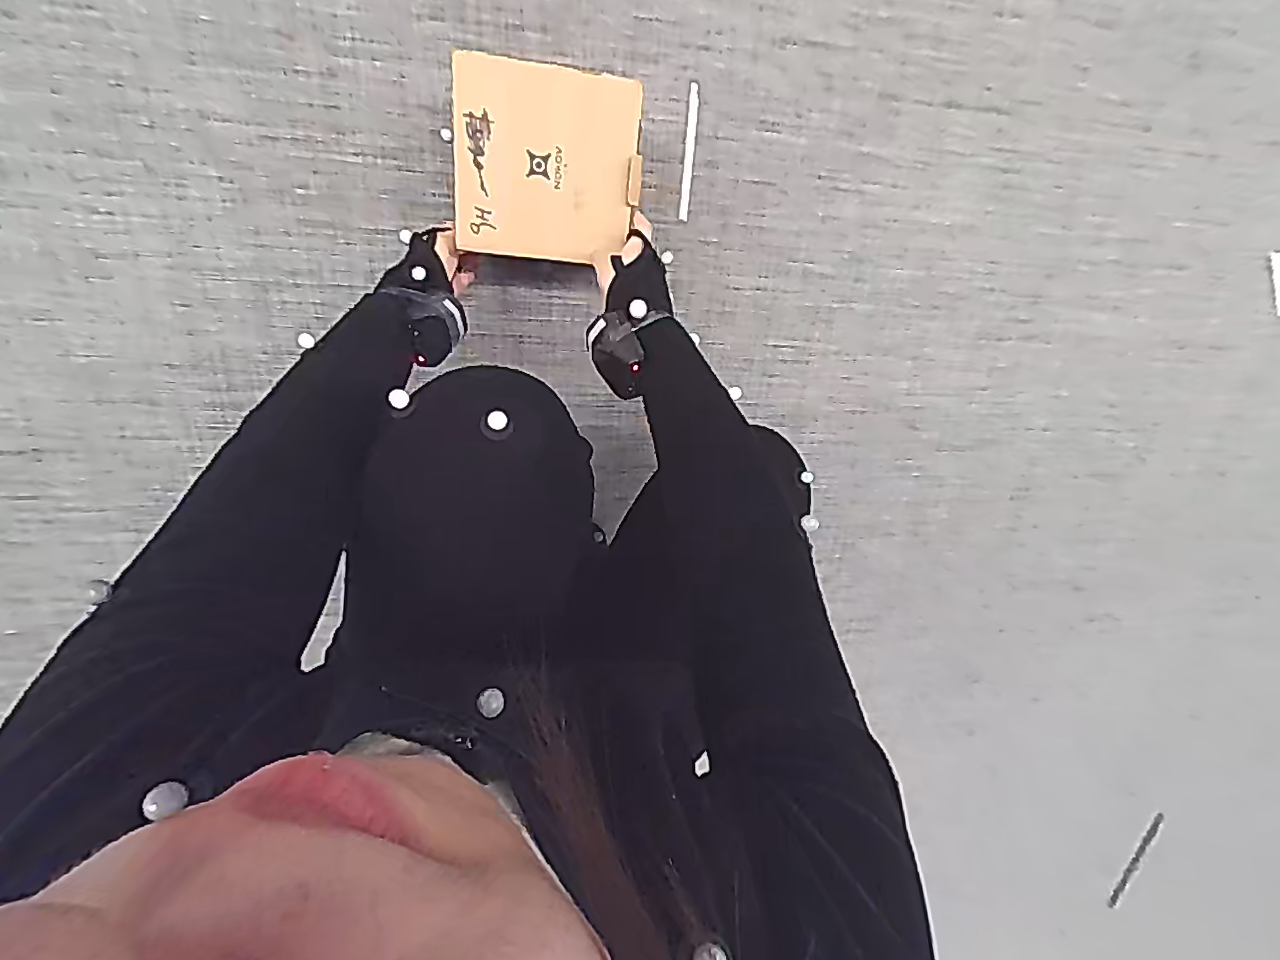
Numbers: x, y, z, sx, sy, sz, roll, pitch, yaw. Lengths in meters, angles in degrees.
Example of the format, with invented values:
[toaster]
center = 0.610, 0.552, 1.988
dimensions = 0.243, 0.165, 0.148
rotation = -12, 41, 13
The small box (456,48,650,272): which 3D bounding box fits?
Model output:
[small box]
center = -0.099, -0.327, 0.586
dimensions = 0.179, 0.176, 0.168
rotation = 2, 112, -12
